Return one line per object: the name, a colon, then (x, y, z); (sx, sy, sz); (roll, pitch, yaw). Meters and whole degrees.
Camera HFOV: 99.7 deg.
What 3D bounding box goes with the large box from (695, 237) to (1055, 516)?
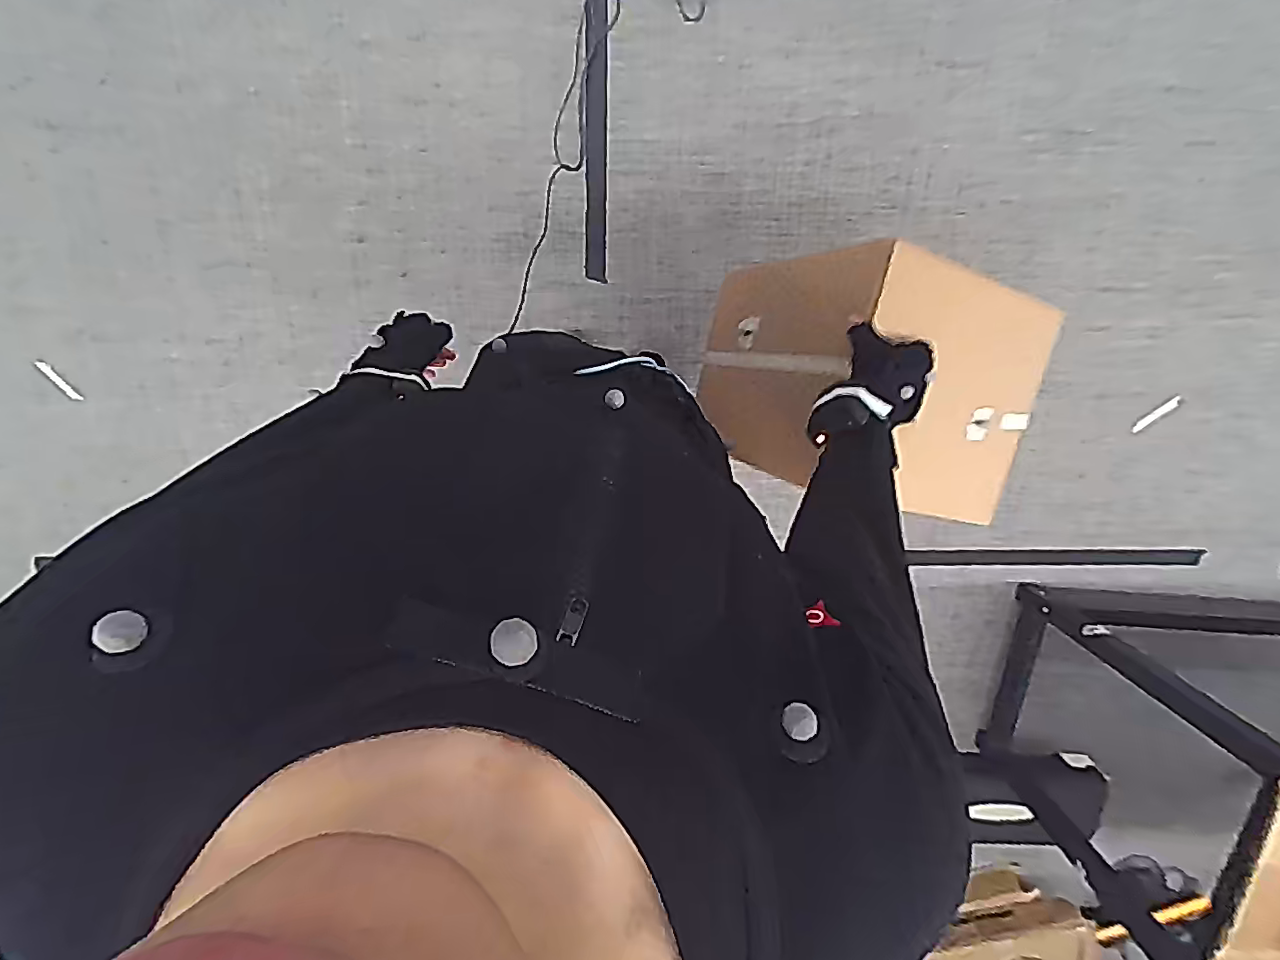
large box: (0.338, -0.157, 0.884); (0.320, 0.408, 0.320); (12, 100, -20)
